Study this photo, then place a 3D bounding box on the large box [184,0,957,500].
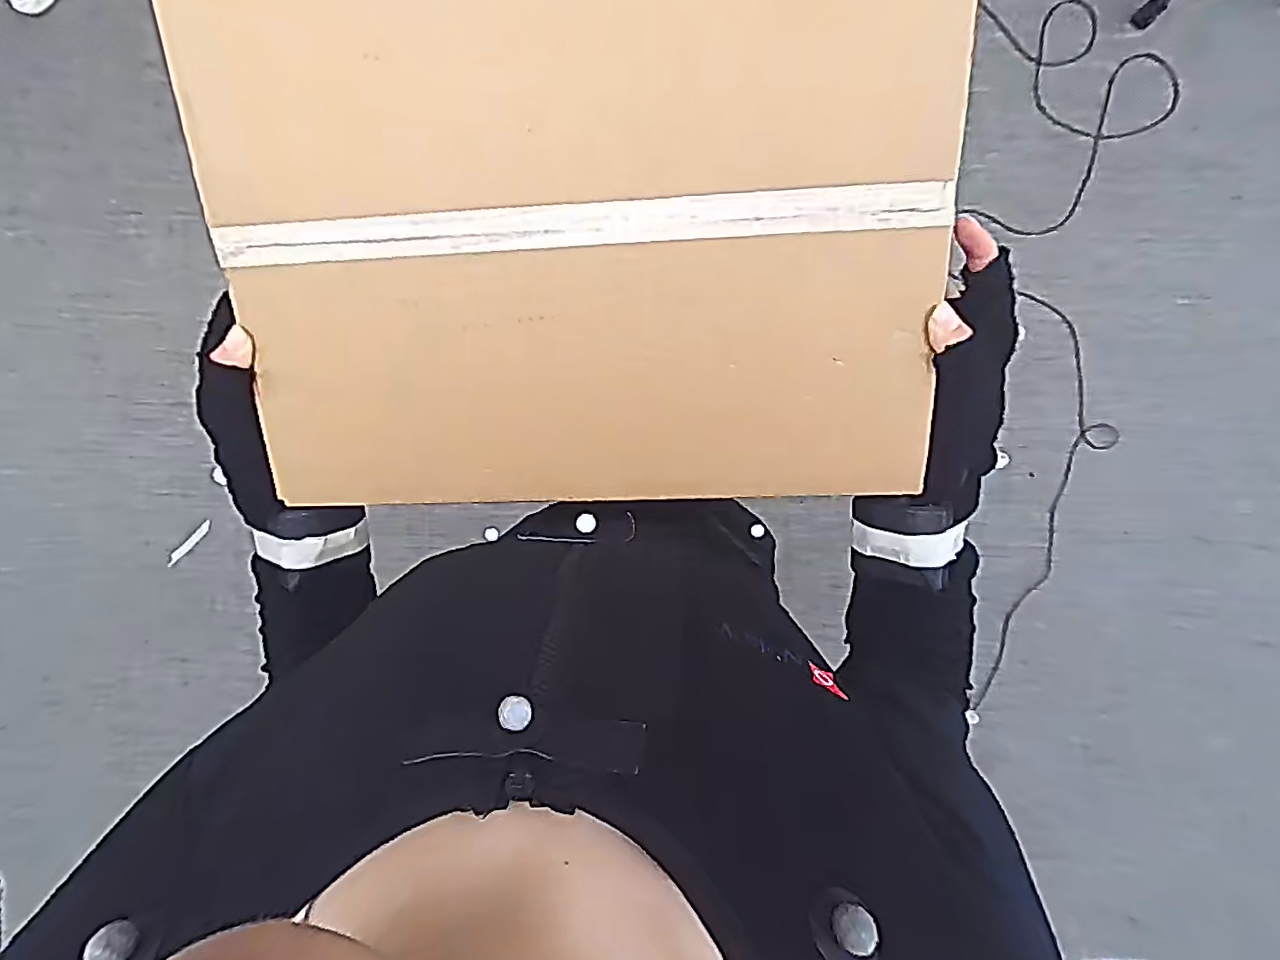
[{"bbox_3d":[-0.030,-0.182,0.448,0.408,0.320,0.320,-1,107,4],"label":"large box"}]
